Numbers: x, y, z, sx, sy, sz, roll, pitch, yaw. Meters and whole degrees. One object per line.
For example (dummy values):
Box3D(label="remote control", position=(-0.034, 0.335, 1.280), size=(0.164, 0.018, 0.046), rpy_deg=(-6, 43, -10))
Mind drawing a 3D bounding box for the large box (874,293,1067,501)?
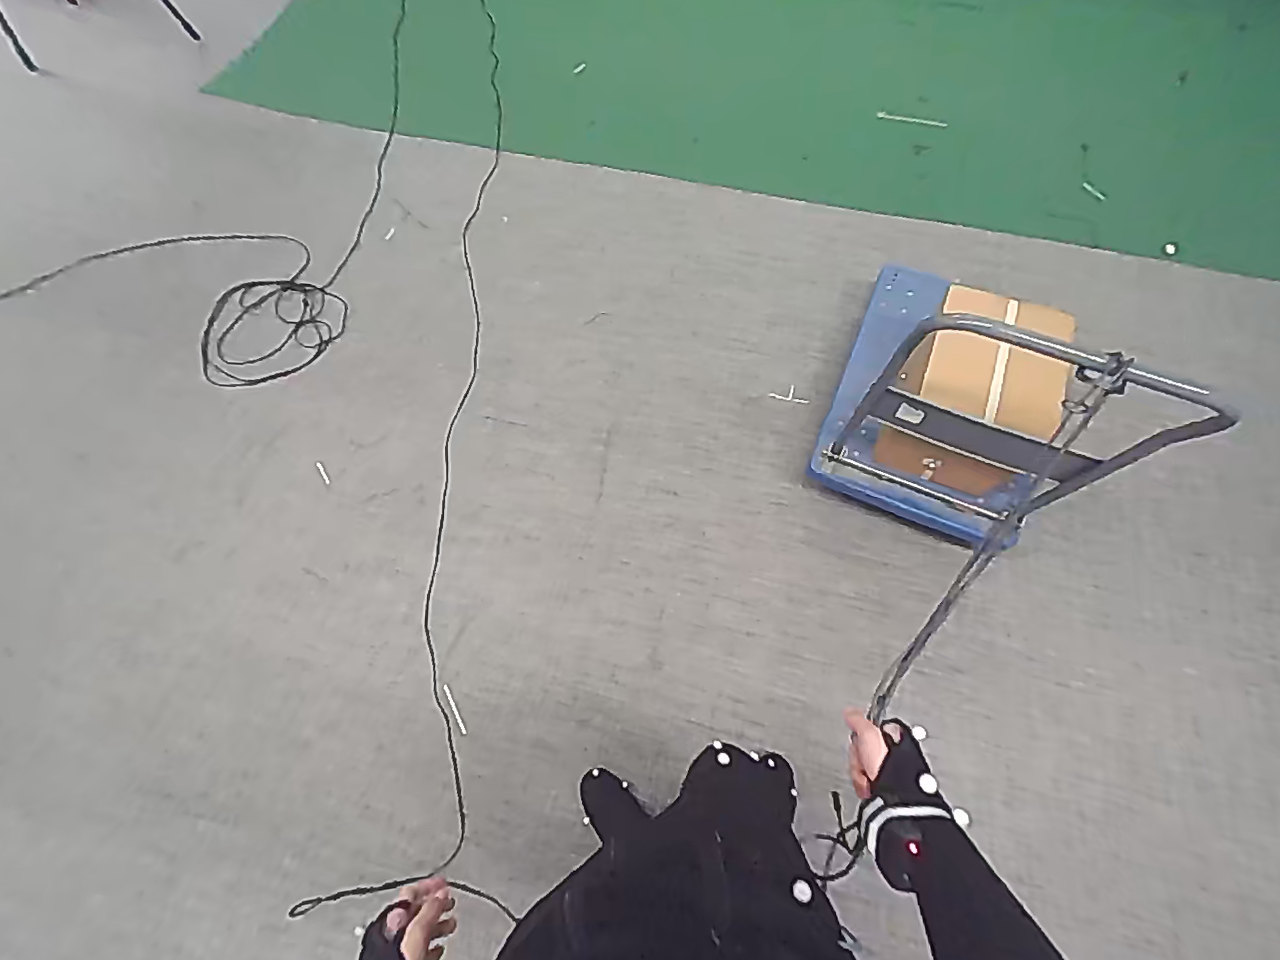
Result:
Box3D(label="large box", position=(0.873, -0.215, 1.455), size=(0.320, 0.320, 0.408), rpy_deg=(22, 66, 11))
